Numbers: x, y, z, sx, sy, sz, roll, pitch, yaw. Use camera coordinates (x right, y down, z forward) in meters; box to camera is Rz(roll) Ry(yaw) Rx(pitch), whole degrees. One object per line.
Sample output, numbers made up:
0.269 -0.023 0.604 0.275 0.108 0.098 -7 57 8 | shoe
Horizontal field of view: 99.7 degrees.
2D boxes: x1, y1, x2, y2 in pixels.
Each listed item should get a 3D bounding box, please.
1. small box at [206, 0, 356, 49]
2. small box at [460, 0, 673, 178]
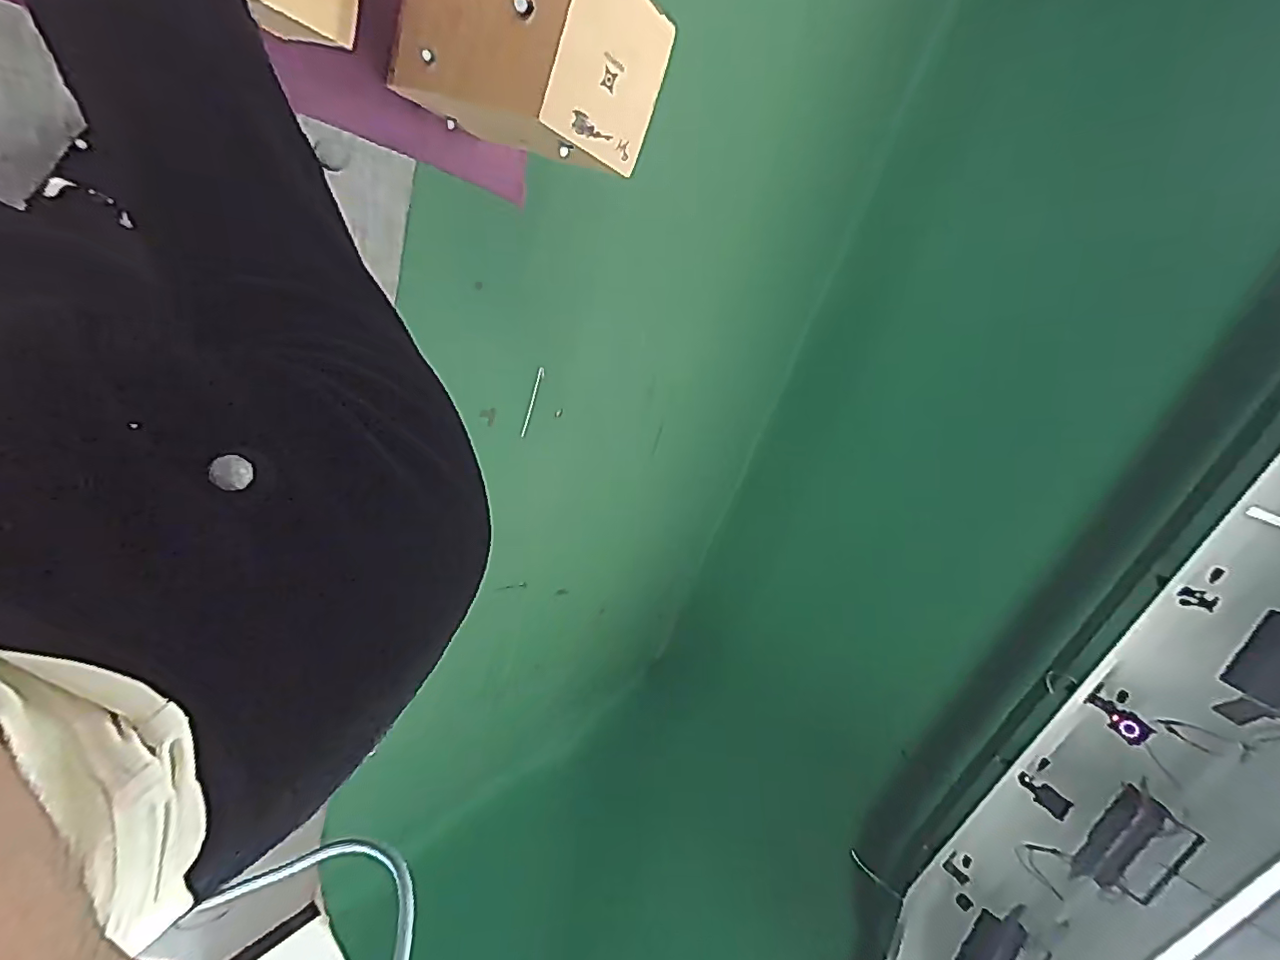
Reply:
-0.385 -0.555 0.515 0.168 0.176 0.179 -9 124 -52 | small box
-0.093 -0.504 0.657 0.168 0.176 0.179 -5 121 -53 | small box
